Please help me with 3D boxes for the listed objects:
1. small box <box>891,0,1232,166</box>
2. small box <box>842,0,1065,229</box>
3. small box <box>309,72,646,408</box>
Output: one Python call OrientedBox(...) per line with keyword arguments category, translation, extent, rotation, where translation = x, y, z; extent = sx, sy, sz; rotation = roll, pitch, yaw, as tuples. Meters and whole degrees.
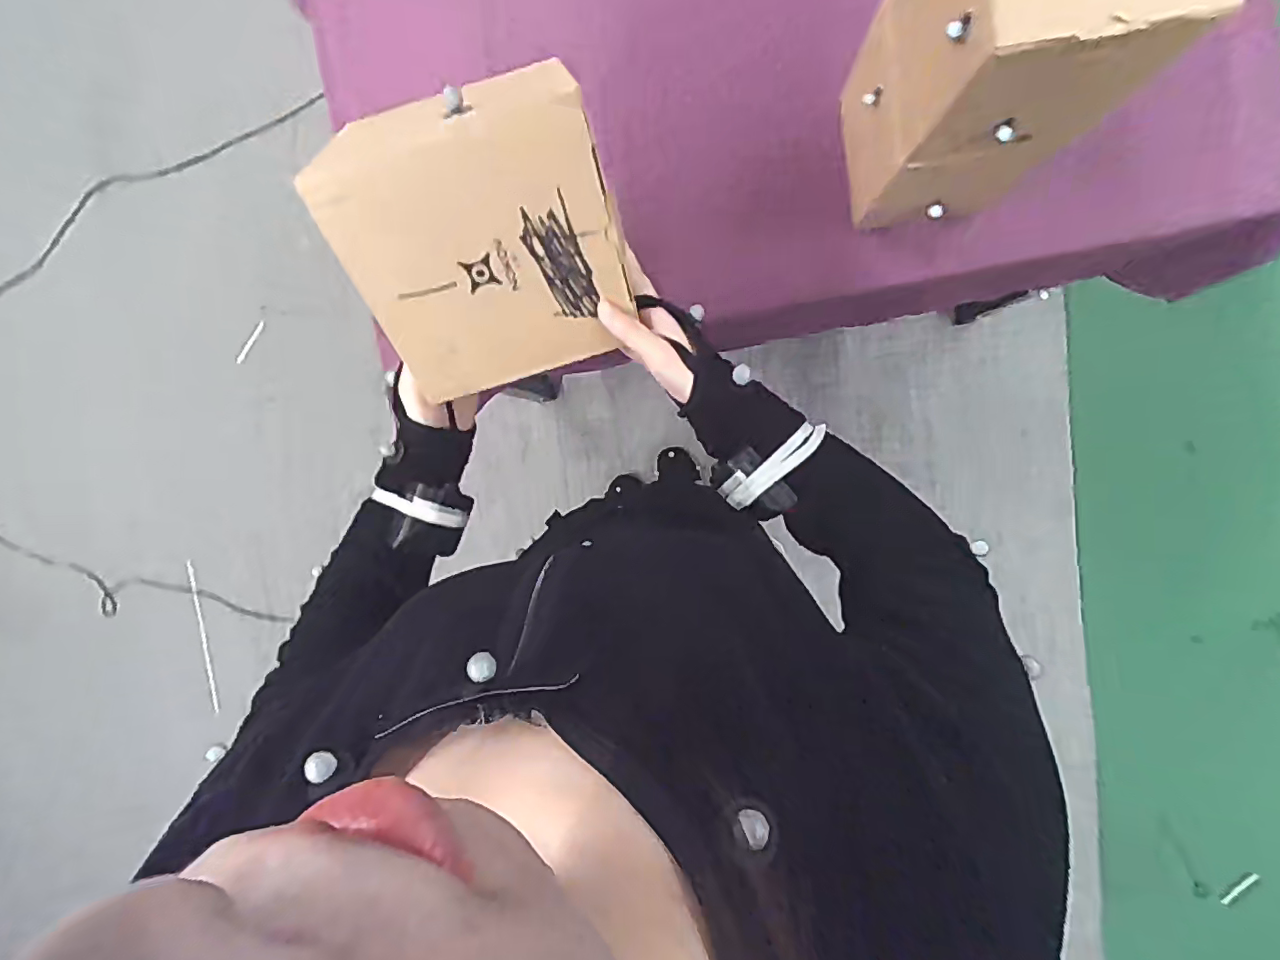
OrientedBox(category="small box", translation=(0.330, -0.406, 0.459), extent=(0.168, 0.176, 0.179), rotation=(-7, 95, 5))
OrientedBox(category="small box", translation=(0.341, -0.418, 0.621), extent=(0.168, 0.176, 0.179), rotation=(-7, 94, 6))
OrientedBox(category="small box", translation=(-0.109, -0.189, 0.420), extent=(0.179, 0.176, 0.168), rotation=(-16, 134, 1))
